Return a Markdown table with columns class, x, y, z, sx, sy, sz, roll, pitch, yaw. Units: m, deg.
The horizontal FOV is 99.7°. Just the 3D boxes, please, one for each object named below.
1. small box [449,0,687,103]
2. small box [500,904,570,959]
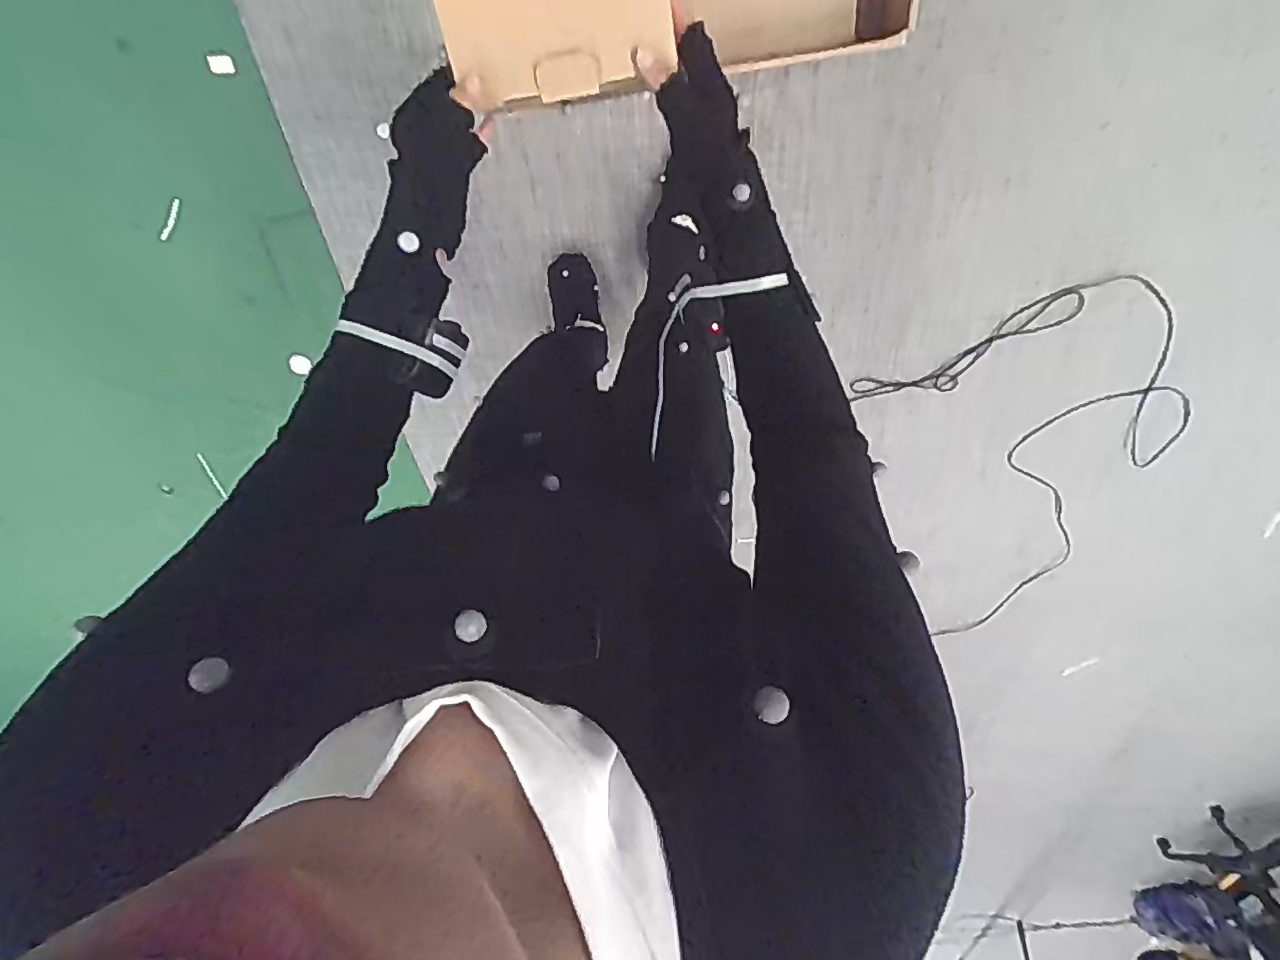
| class | x | y | z | sx | sy | sz | roll | pitch | yaw |
| --- | --- | --- | --- | --- | --- | --- | --- | --- | --- |
| small box | -0.060 | -0.412 | 0.423 | 0.168 | 0.176 | 0.179 | -8 | 125 | 3 |
| small box | -0.318 | 1.437 | 1.664 | 0.168 | 0.176 | 0.179 | -5 | 125 | 5 |
